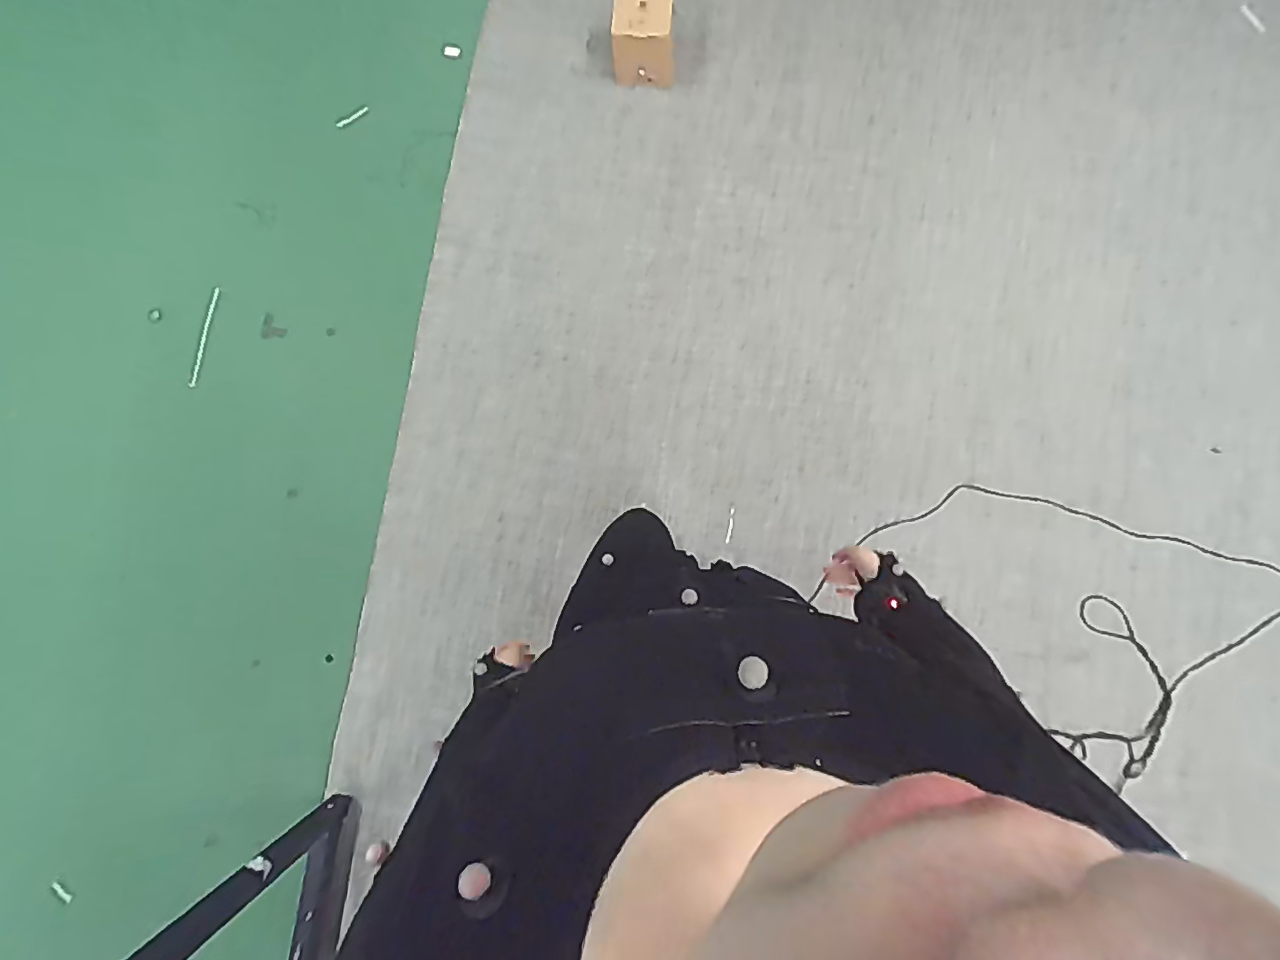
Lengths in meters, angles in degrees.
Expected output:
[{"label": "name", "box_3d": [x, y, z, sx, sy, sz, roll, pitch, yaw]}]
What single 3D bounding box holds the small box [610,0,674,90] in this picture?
[{"label": "small box", "box_3d": [0.009, -1.294, 1.582, 0.168, 0.176, 0.179, 5, 84, 3]}]
